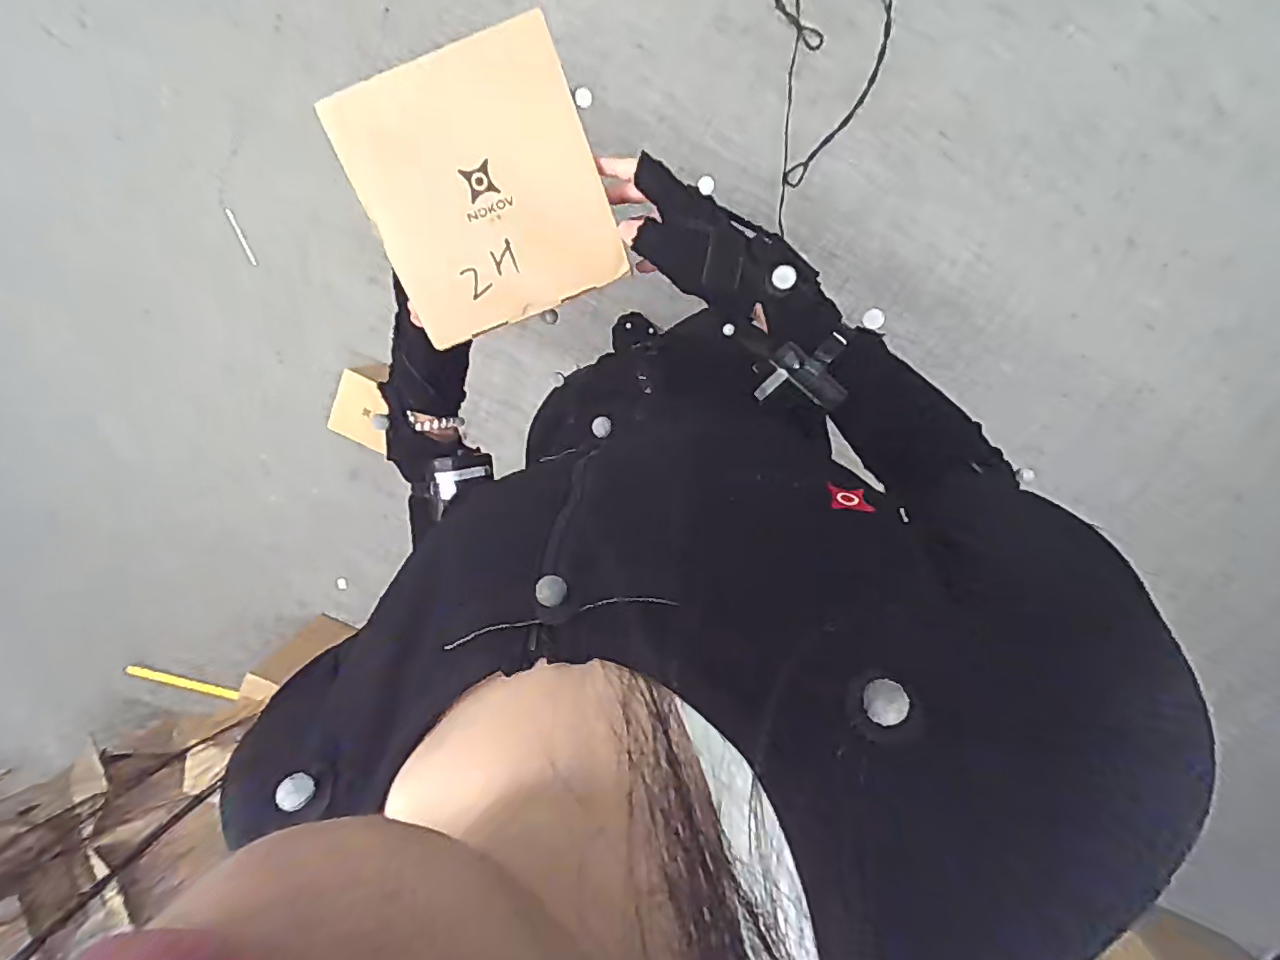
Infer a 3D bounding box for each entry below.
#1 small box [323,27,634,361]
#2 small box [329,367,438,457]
[{"bbox_3d":[-0.114,-0.220,0.457,0.168,0.176,0.179,-20,111,4],"label":"small box"},{"bbox_3d":[-0.661,-0.185,1.410,0.179,0.176,0.168,25,107,-5],"label":"small box"}]
